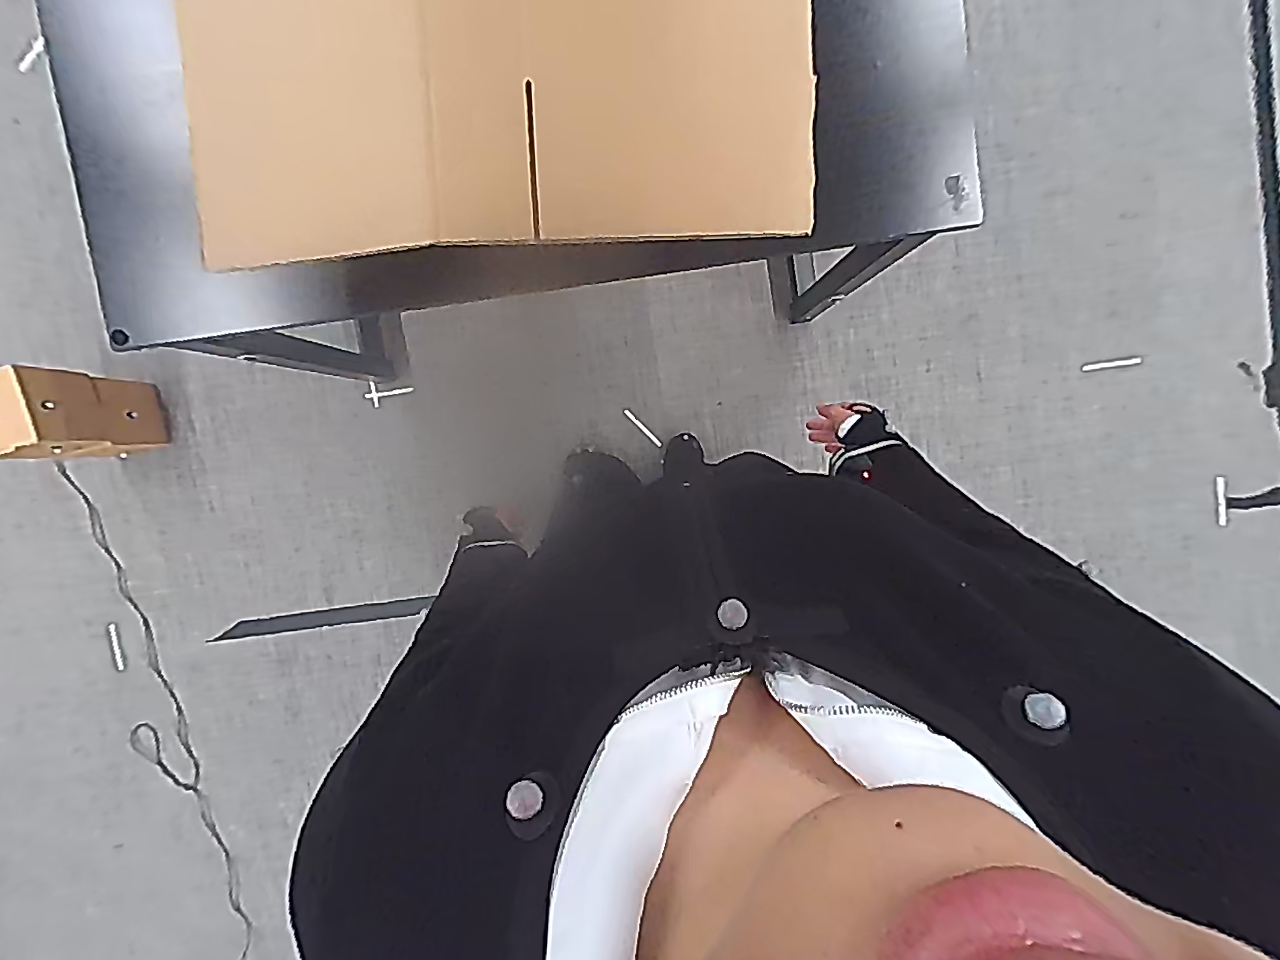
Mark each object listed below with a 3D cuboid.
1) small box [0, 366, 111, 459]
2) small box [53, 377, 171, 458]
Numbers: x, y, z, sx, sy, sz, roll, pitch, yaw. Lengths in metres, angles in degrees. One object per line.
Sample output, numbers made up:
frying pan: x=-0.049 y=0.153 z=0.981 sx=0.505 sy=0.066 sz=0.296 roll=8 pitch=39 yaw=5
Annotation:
small box: x=-1.394 y=-0.151 z=1.250 sx=0.168 sy=0.176 sz=0.179 roll=-15 pitch=94 yaw=1
small box: x=-1.391 y=-0.159 z=1.412 sx=0.168 sy=0.176 sz=0.179 roll=-12 pitch=95 yaw=2
